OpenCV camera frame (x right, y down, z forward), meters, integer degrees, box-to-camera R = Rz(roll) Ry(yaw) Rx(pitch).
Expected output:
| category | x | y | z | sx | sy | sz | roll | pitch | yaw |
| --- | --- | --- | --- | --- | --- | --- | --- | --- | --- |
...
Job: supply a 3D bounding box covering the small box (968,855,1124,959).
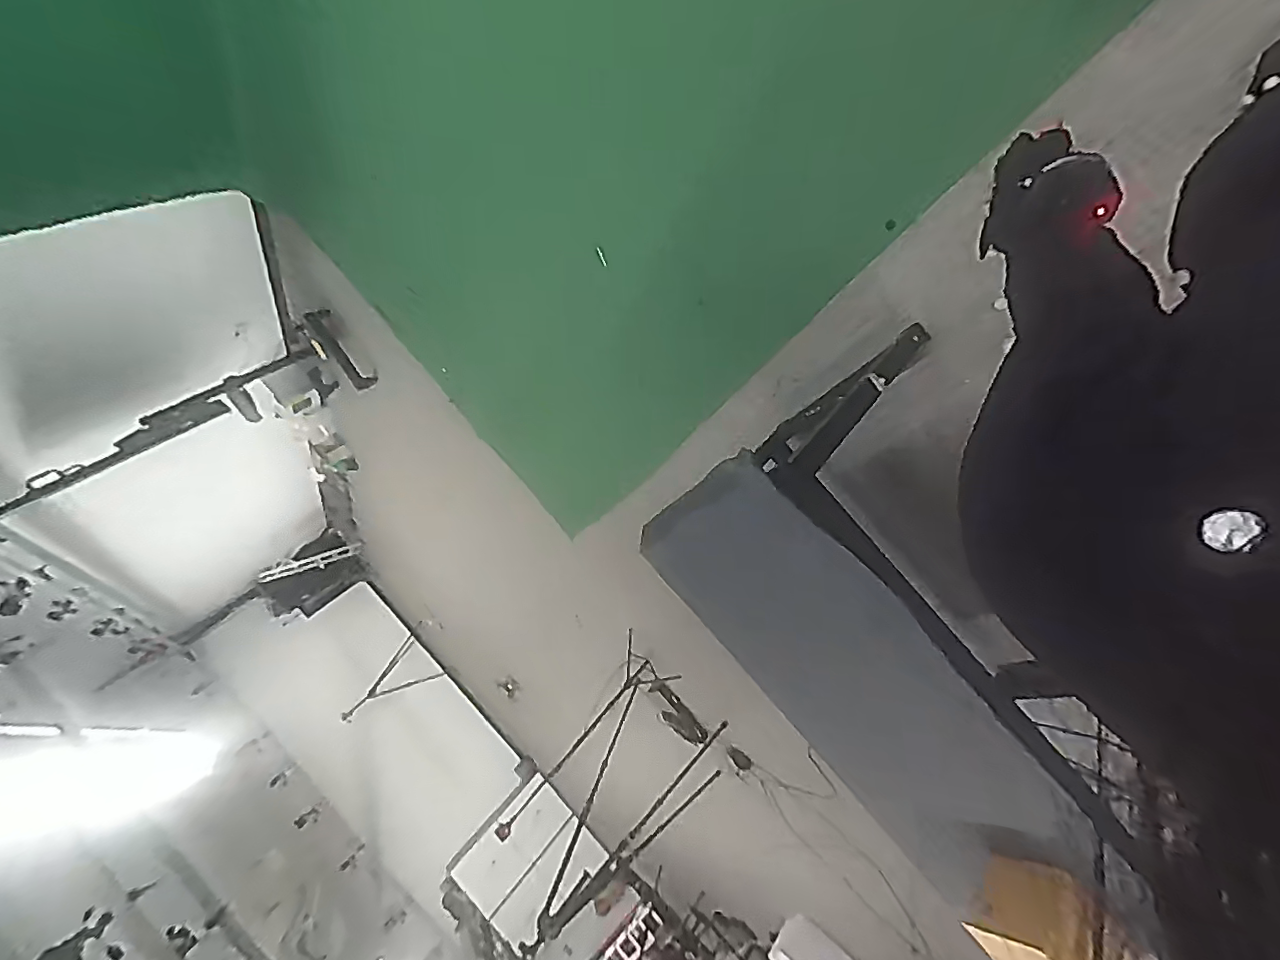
| category | x | y | z | sx | sy | sz | roll | pitch | yaw |
| --- | --- | --- | --- | --- | --- | --- | --- | --- | --- |
| small box | 0.816 | 0.901 | 1.089 | 0.168 | 0.176 | 0.179 | 48 | 147 | 3 |
